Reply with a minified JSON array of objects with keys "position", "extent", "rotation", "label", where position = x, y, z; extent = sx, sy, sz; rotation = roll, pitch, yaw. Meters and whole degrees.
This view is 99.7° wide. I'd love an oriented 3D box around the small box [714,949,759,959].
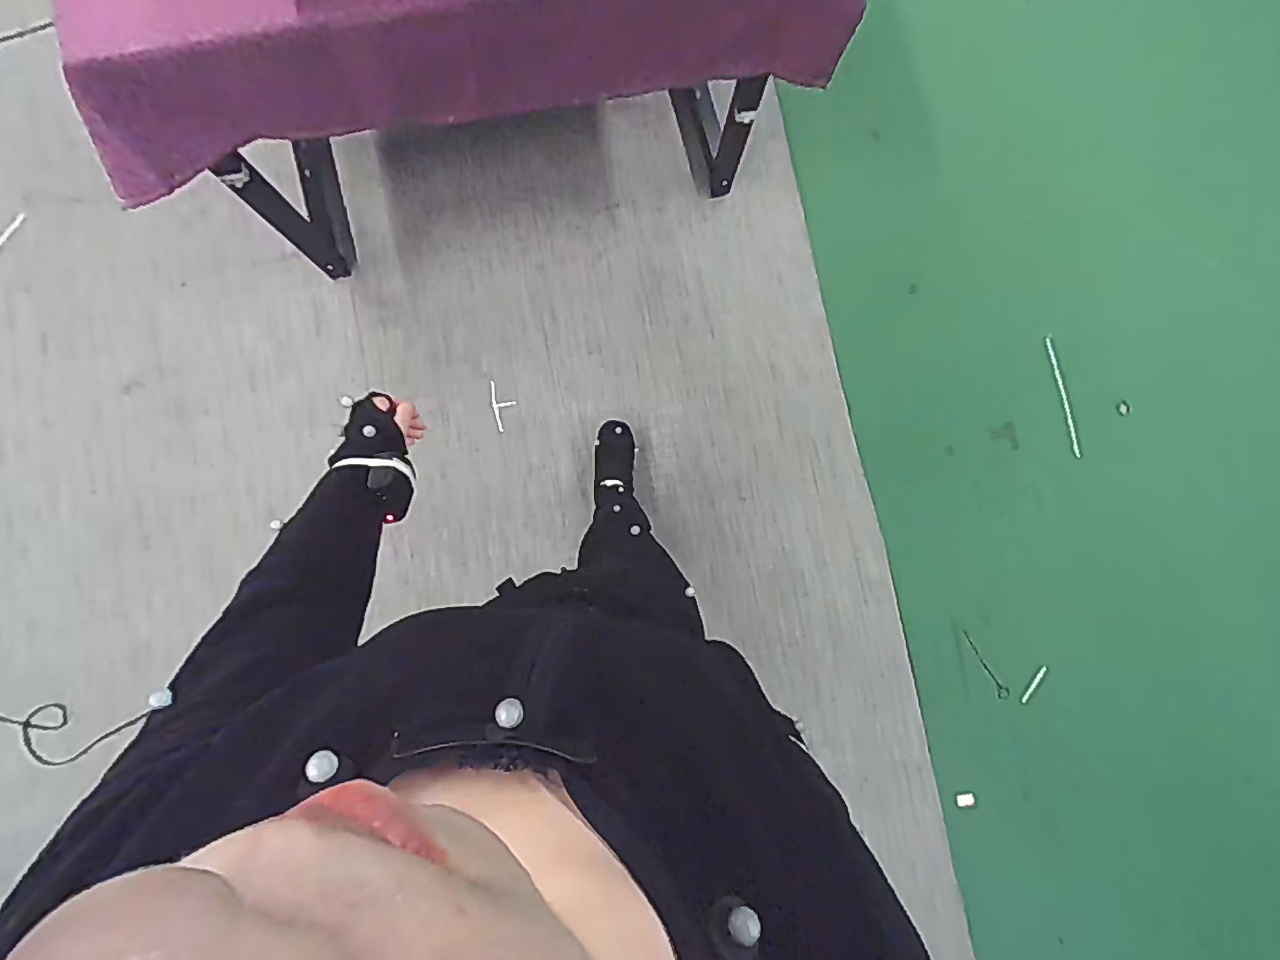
[{"position":[0.218,1.190,1.176],"extent":[0.168,0.176,0.179],"rotation":[-14,85,-5],"label":"small box"}]
